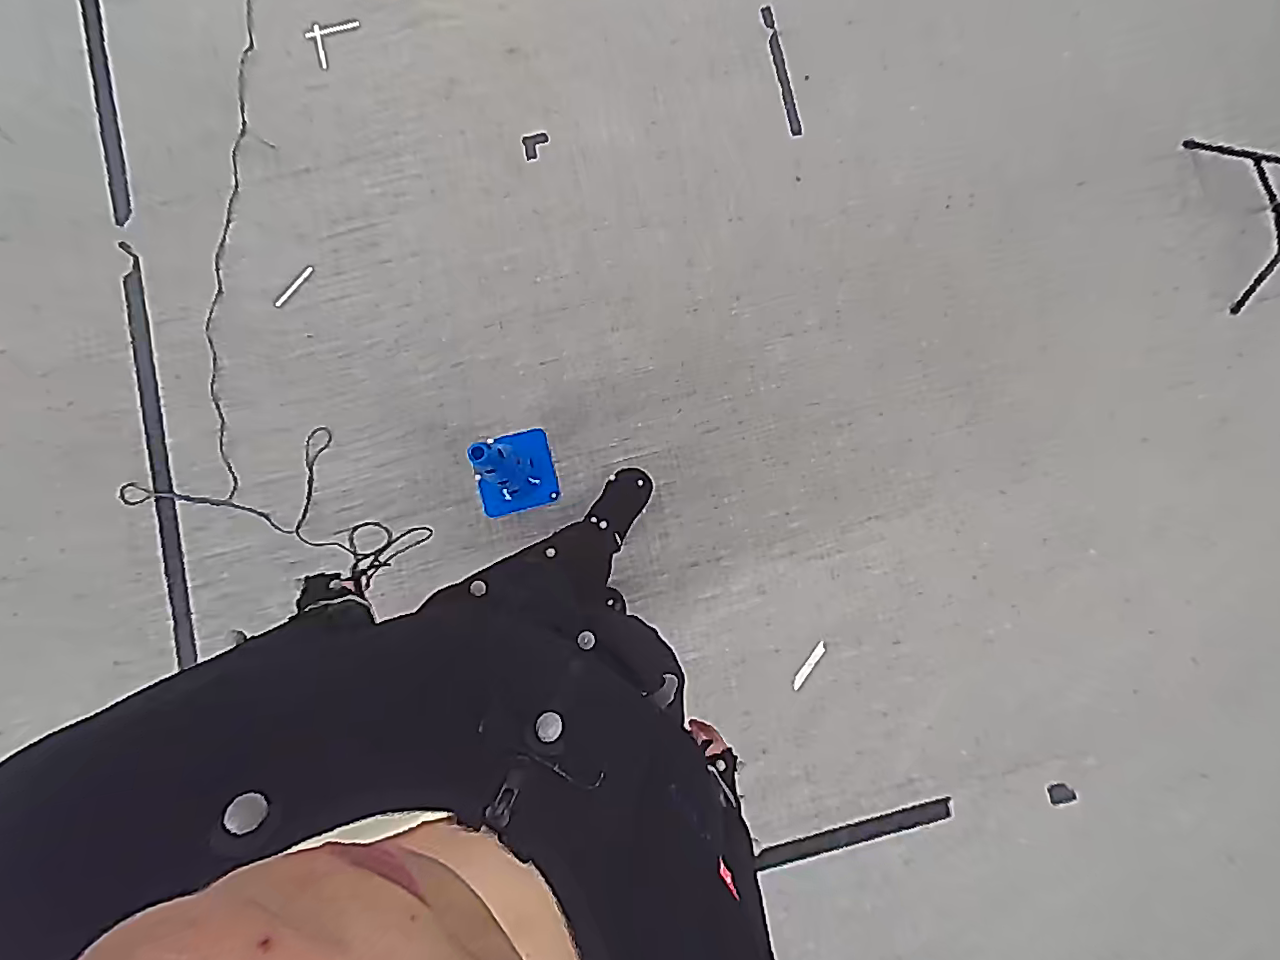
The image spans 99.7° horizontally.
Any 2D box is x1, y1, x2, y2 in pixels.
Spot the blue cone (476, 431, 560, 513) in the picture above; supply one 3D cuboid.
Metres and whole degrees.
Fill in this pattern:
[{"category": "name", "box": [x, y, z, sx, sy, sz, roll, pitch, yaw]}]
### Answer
[{"category": "blue cone", "box": [-0.307, -0.036, 1.213, 0.192, 0.380, 0.193, -13, 85, -3]}]
